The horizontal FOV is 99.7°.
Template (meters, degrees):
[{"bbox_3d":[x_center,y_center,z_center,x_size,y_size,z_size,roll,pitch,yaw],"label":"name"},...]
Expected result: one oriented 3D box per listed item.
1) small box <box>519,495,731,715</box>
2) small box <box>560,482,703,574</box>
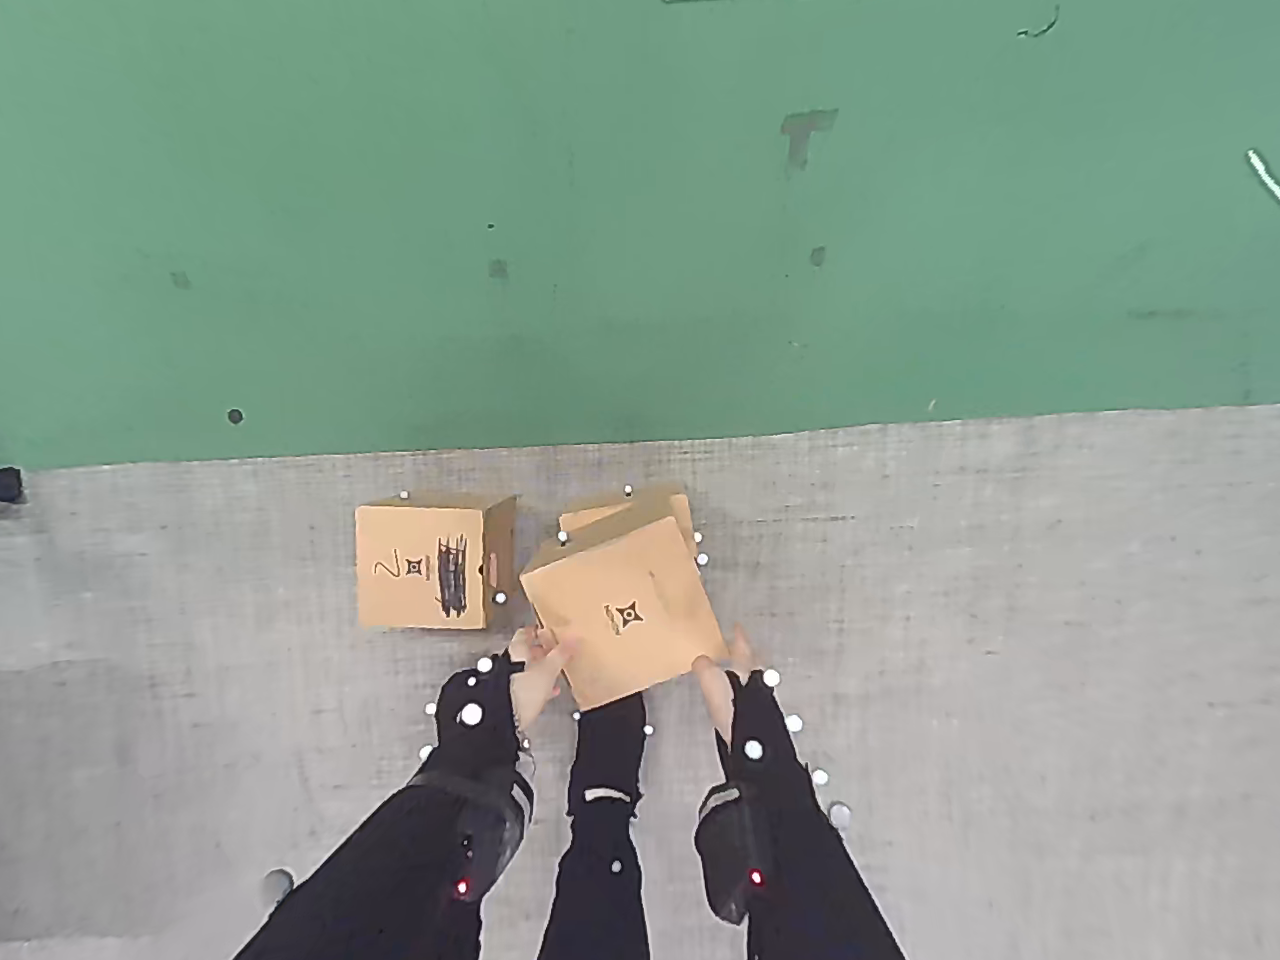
[{"bbox_3d":[-0.014,0.131,0.631,0.179,0.176,0.168,-23,97,2],"label":"small box"},{"bbox_3d":[-0.007,0.103,0.791,0.179,0.176,0.168,-10,96,1],"label":"small box"}]
